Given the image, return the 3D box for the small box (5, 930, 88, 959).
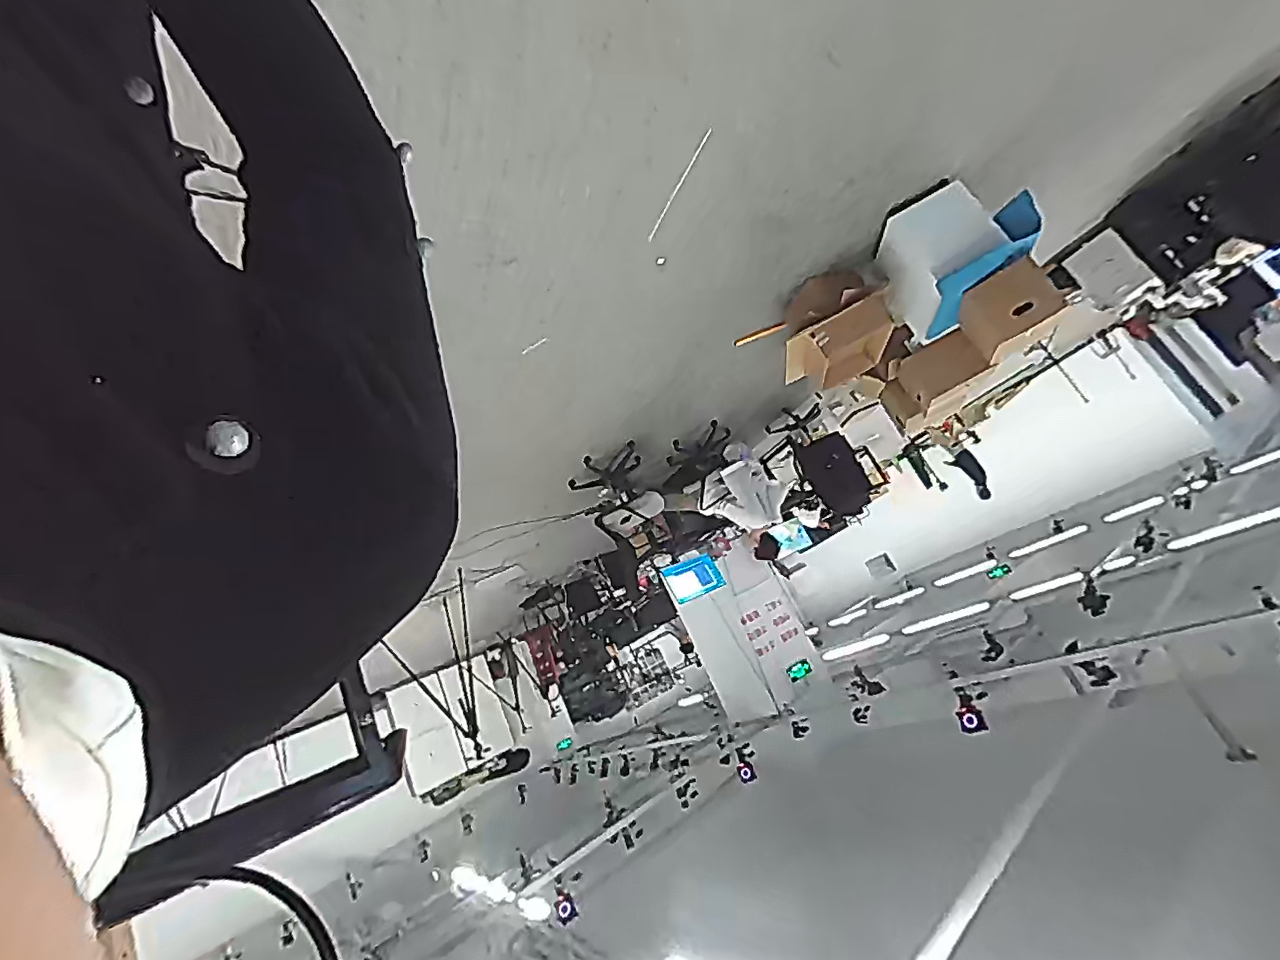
[{"bbox_3d":[-1.449,1.211,1.282,0.179,0.176,0.168,-13,161,-37],"label":"small box"}]
